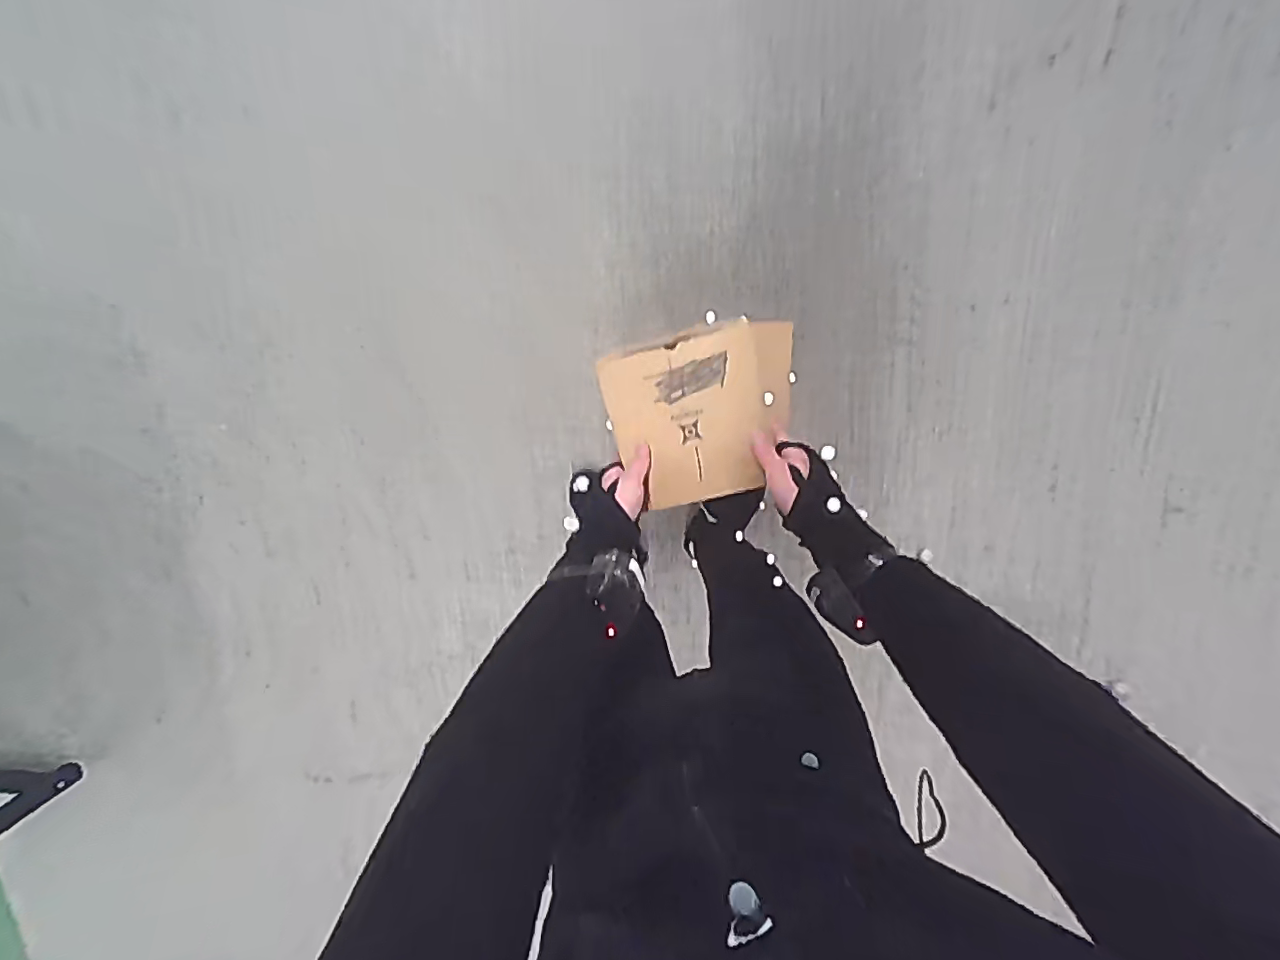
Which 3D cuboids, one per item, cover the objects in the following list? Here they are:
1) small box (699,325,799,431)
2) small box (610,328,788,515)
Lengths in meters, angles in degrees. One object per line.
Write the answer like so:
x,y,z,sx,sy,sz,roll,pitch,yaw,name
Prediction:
0.188,-0.189,0.994,0.168,0.176,0.179,1,102,4,small box
0.069,-0.077,0.637,0.168,0.176,0.179,-9,107,8,small box
